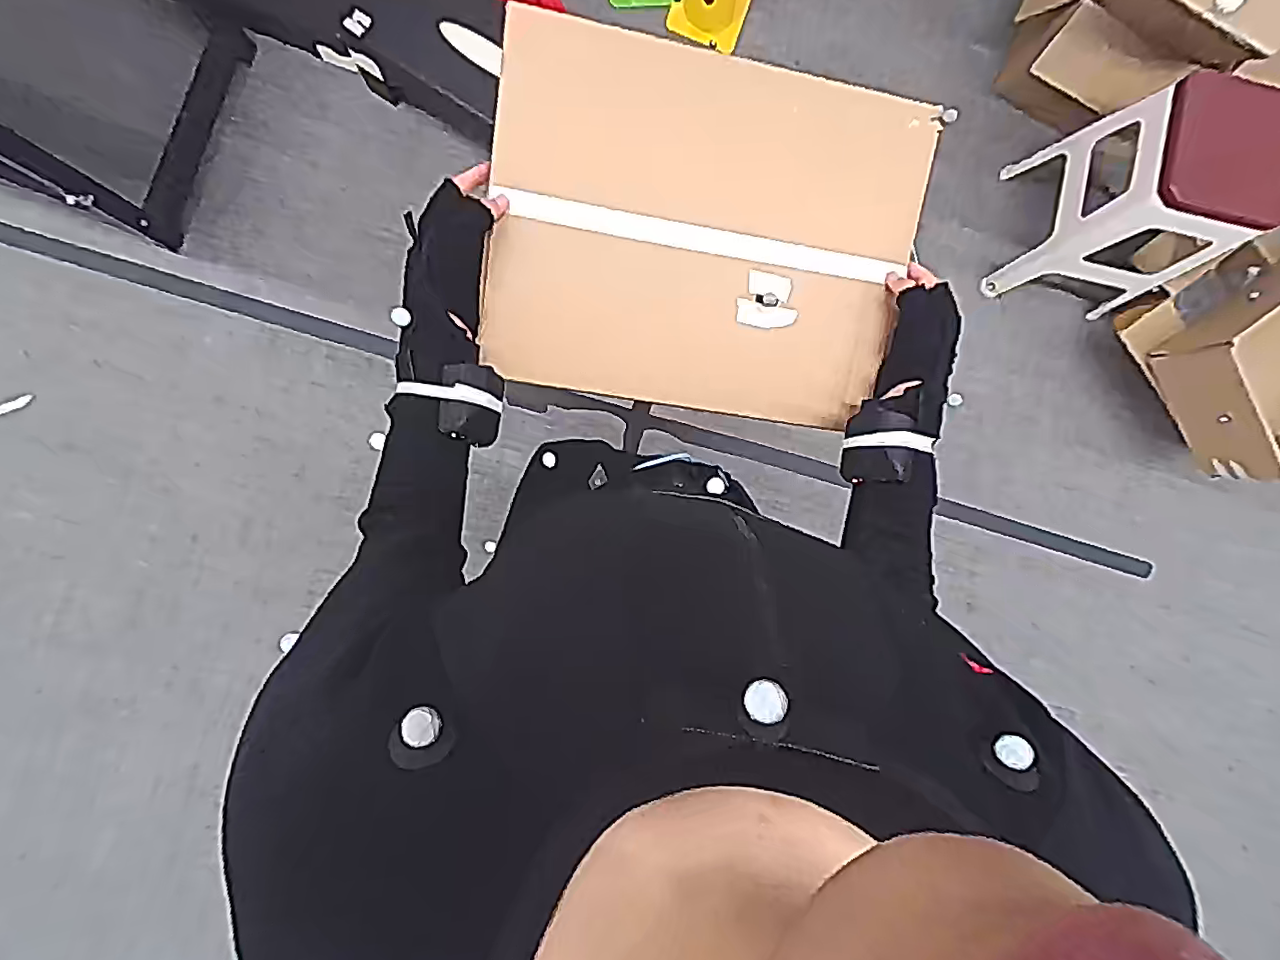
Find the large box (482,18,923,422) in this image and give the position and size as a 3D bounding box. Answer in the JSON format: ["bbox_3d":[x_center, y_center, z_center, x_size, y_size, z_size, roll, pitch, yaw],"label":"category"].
[{"bbox_3d":[0.043,-0.261,0.669,0.408,0.320,0.320,8,101,-8],"label":"large box"}]
